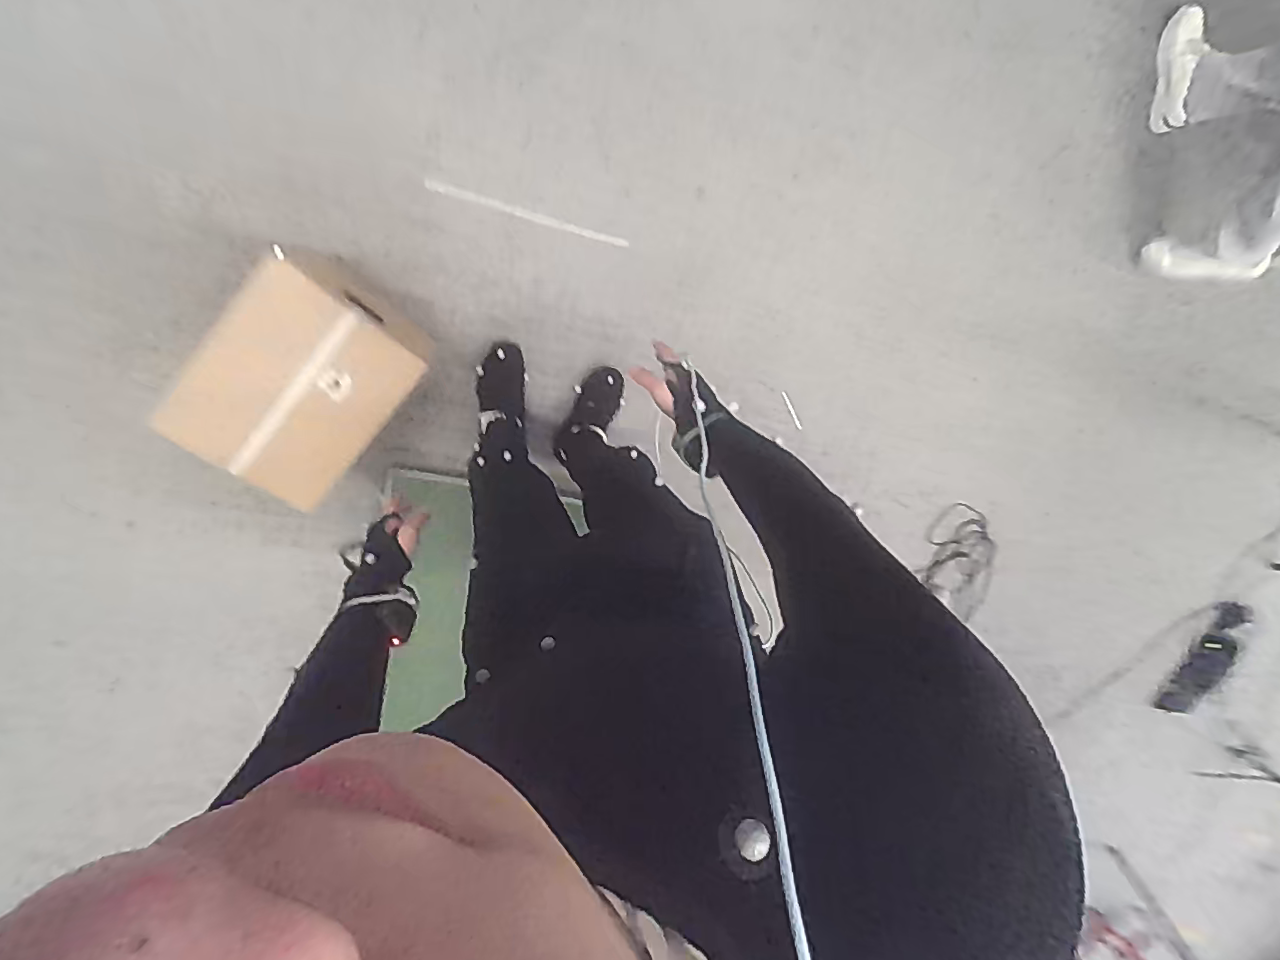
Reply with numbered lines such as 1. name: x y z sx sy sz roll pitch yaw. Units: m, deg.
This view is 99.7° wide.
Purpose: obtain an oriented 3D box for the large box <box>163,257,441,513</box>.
1. large box: -0.690 -0.212 1.174 0.320 0.320 0.408 38 97 -26
